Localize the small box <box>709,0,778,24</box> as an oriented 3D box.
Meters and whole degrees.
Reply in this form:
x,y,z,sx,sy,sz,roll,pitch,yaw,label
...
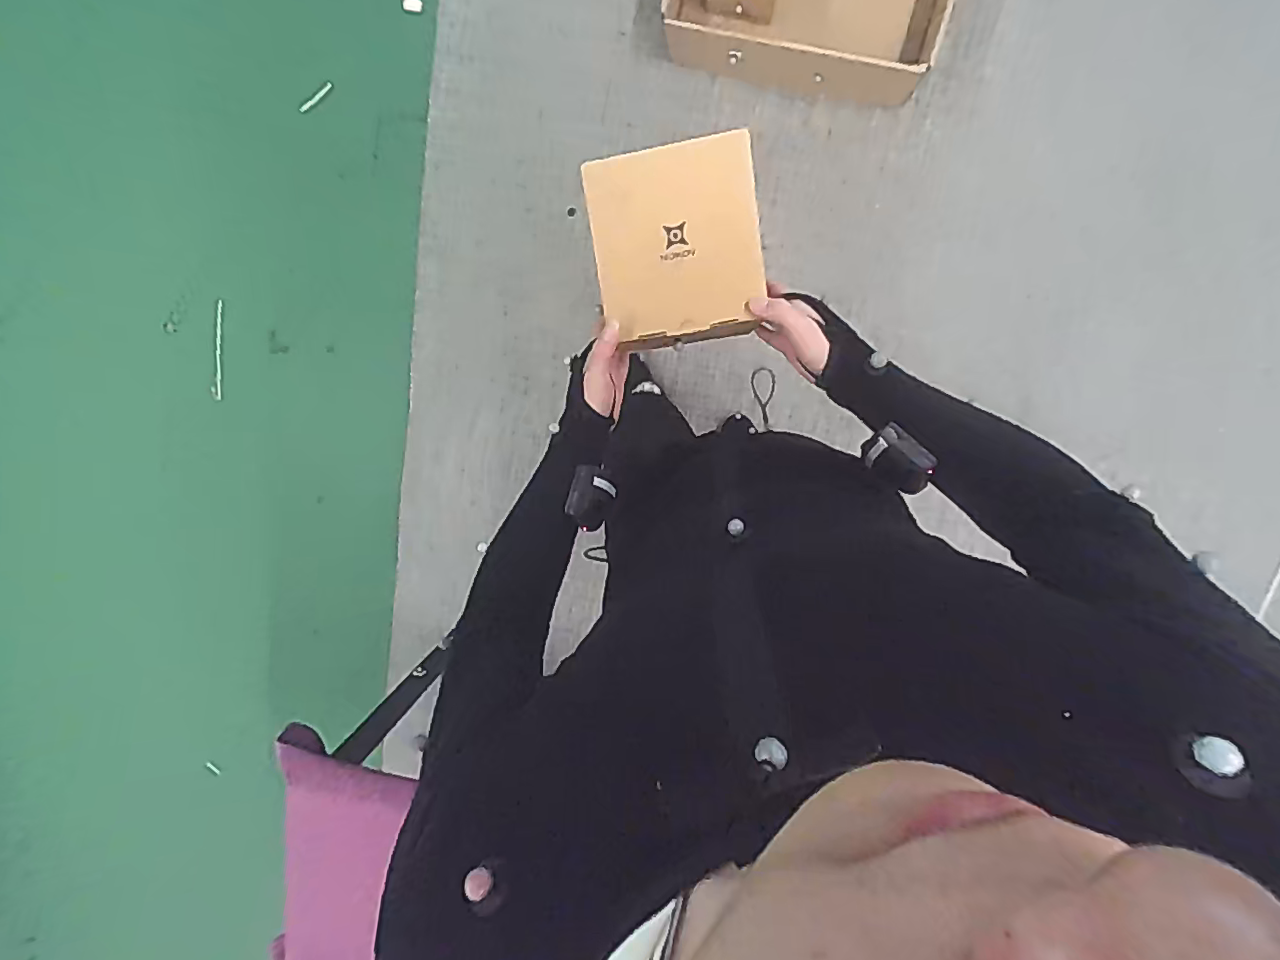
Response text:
x,y,z,sx,sy,sz,roll,pitch,yaw,label
0.250,-1.188,1.215,0.168,0.176,0.179,15,102,5,small box
